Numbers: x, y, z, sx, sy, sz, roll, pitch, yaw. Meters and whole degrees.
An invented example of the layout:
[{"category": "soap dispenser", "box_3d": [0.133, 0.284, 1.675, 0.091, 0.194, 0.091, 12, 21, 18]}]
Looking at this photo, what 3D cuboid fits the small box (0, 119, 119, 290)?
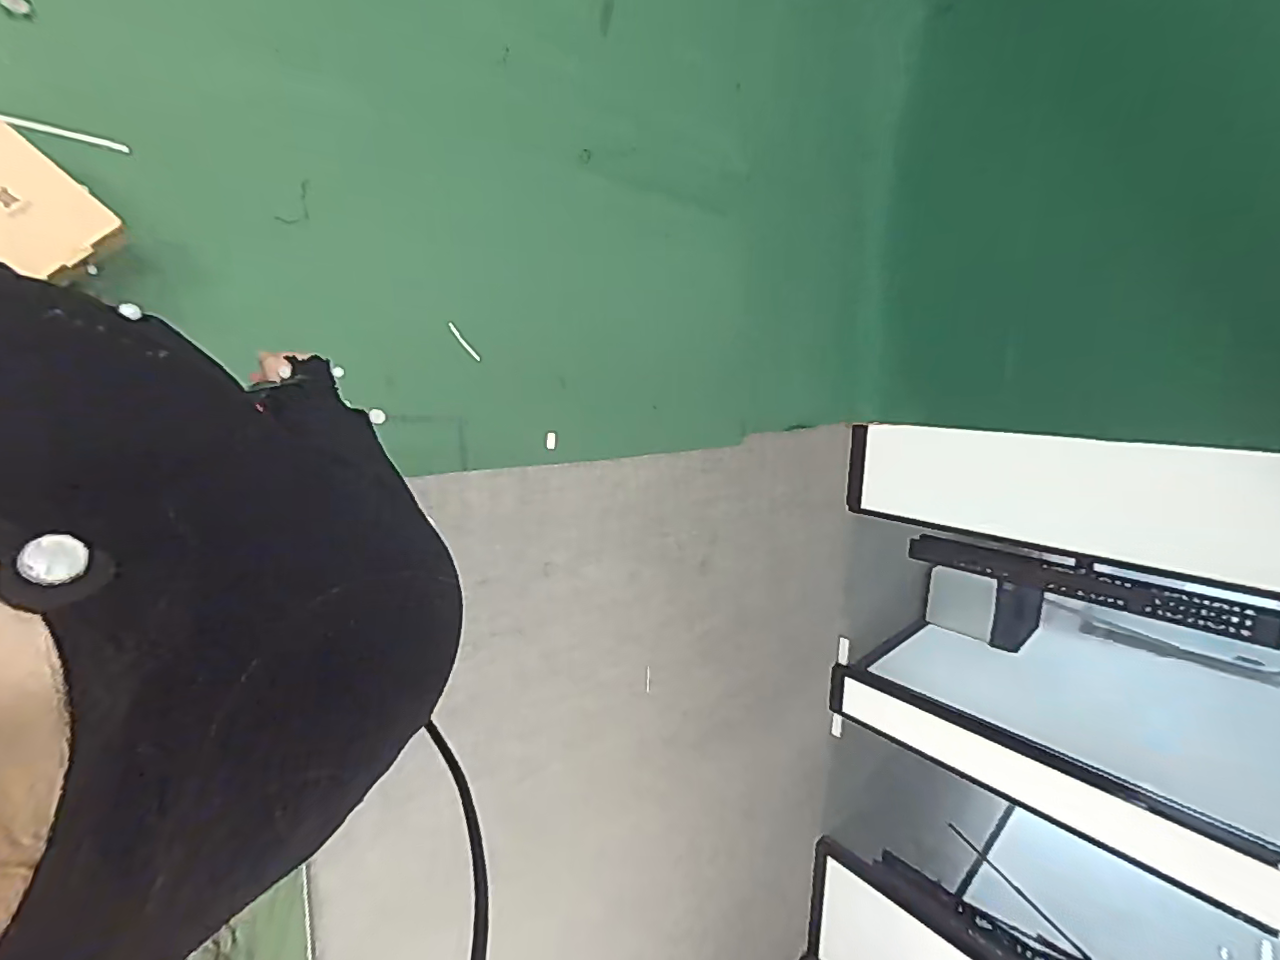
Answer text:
[{"category": "small box", "box_3d": [-0.960, -0.413, 0.833, 0.168, 0.176, 0.179, -54, 130, -20]}]
